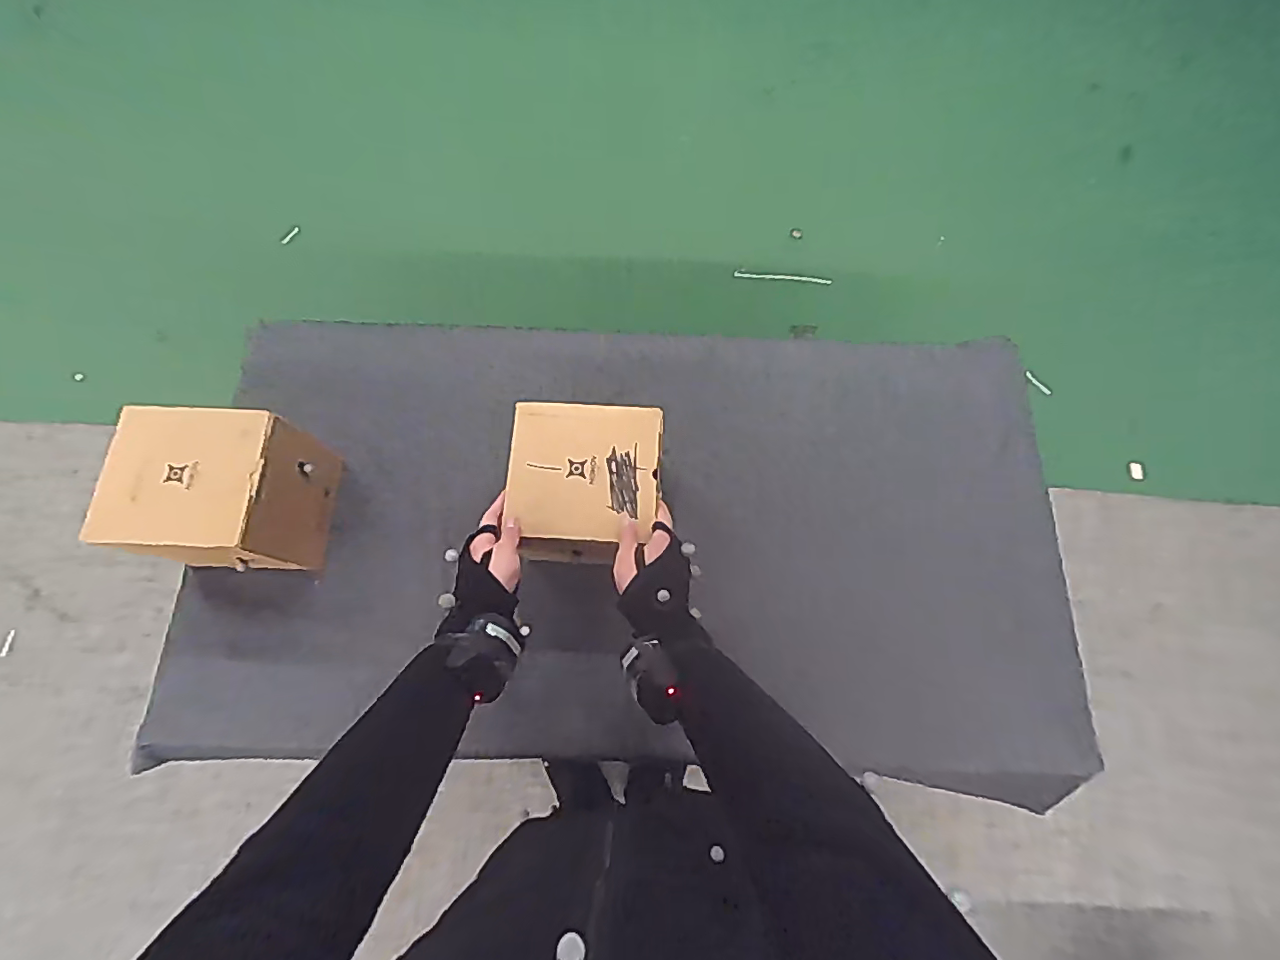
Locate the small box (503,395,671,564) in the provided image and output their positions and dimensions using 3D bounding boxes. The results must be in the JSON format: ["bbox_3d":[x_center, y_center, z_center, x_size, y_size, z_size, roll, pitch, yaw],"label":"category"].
[{"bbox_3d":[-0.059,0.009,0.685,0.179,0.176,0.168,4,72,0],"label":"small box"}]

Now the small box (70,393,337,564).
[{"bbox_3d":[-0.511,0.007,0.669,0.179,0.176,0.168,2,71,-1],"label":"small box"}]
